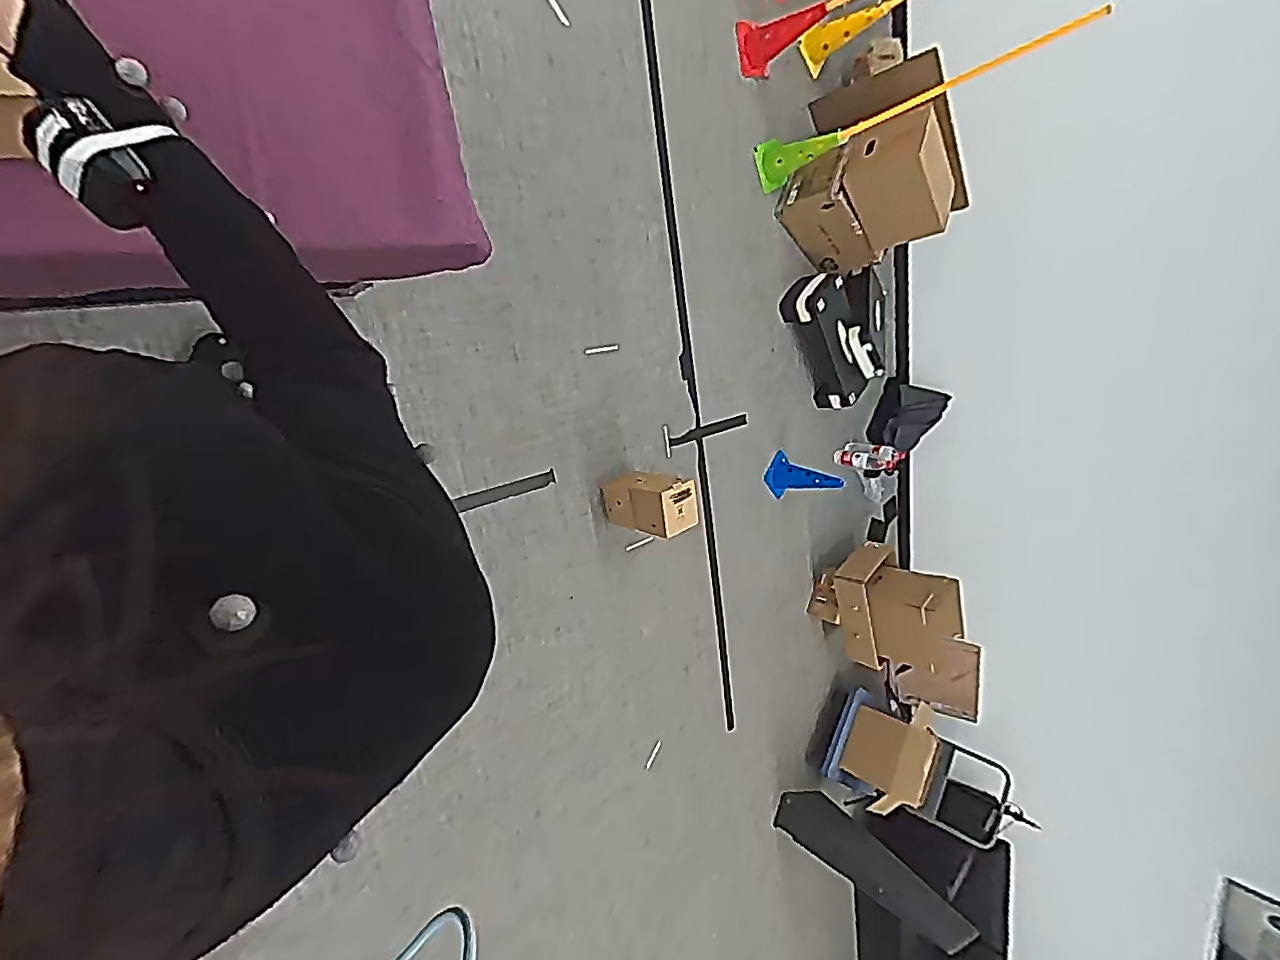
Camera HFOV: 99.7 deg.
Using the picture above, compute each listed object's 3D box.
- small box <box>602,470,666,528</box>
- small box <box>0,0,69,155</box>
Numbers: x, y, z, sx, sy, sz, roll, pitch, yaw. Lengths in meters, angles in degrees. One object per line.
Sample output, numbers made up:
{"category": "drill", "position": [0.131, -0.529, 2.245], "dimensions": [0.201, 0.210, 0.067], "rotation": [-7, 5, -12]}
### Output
{"category": "small box", "position": [-0.029, 0.069, 2.087], "dimensions": [0.179, 0.176, 0.168], "rotation": [-25, 113, -36]}
{"category": "small box", "position": [-0.666, -0.404, 0.477], "dimensions": [0.179, 0.176, 0.168], "rotation": [-26, 113, -36]}
